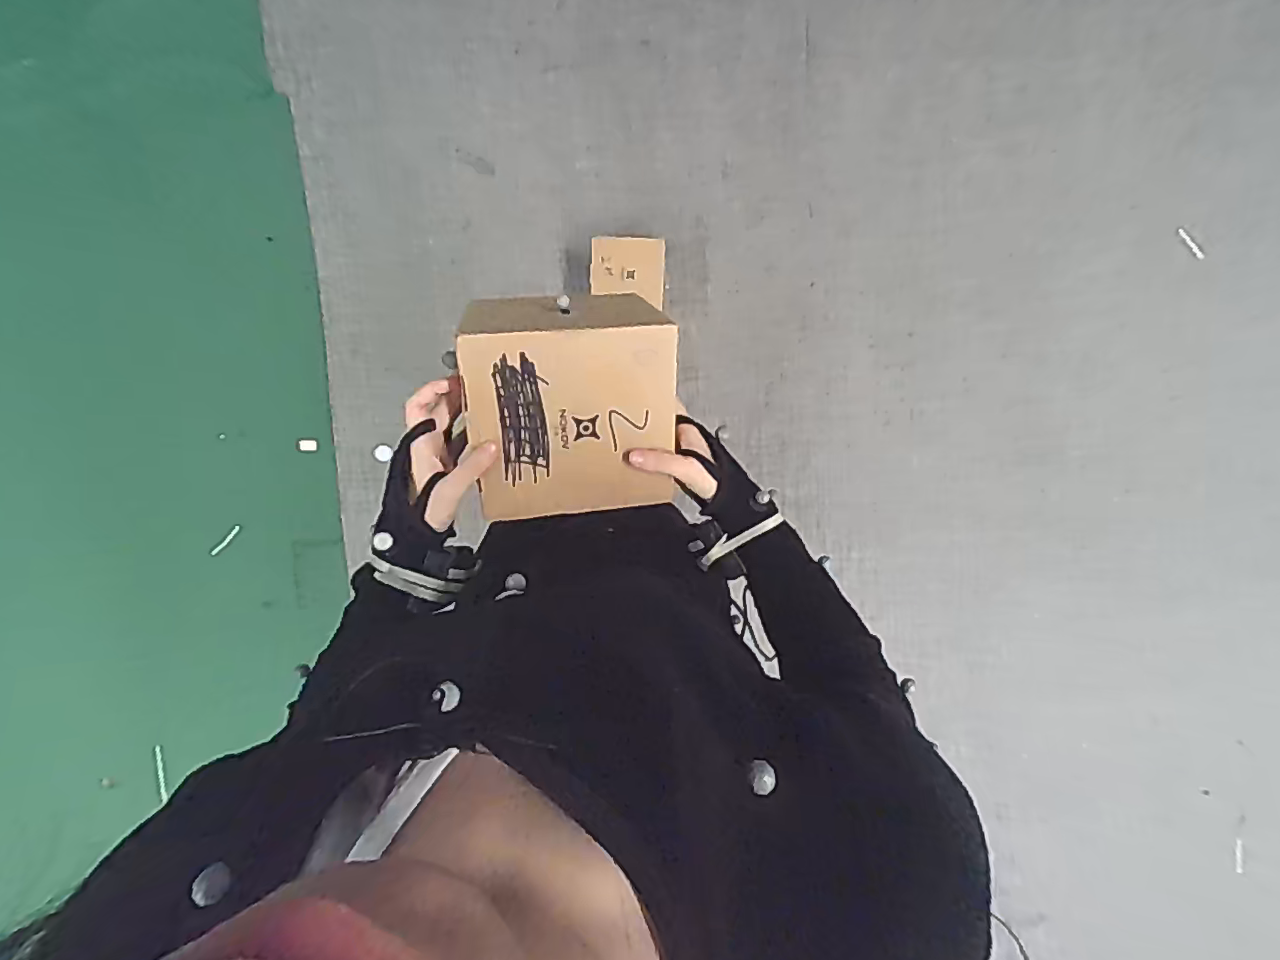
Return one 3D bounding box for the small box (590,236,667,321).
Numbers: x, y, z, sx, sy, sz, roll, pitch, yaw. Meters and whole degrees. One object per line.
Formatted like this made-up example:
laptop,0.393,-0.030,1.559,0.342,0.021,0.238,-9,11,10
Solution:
small box,-0.027,-0.495,1.349,0.179,0.176,0.168,2,97,1
